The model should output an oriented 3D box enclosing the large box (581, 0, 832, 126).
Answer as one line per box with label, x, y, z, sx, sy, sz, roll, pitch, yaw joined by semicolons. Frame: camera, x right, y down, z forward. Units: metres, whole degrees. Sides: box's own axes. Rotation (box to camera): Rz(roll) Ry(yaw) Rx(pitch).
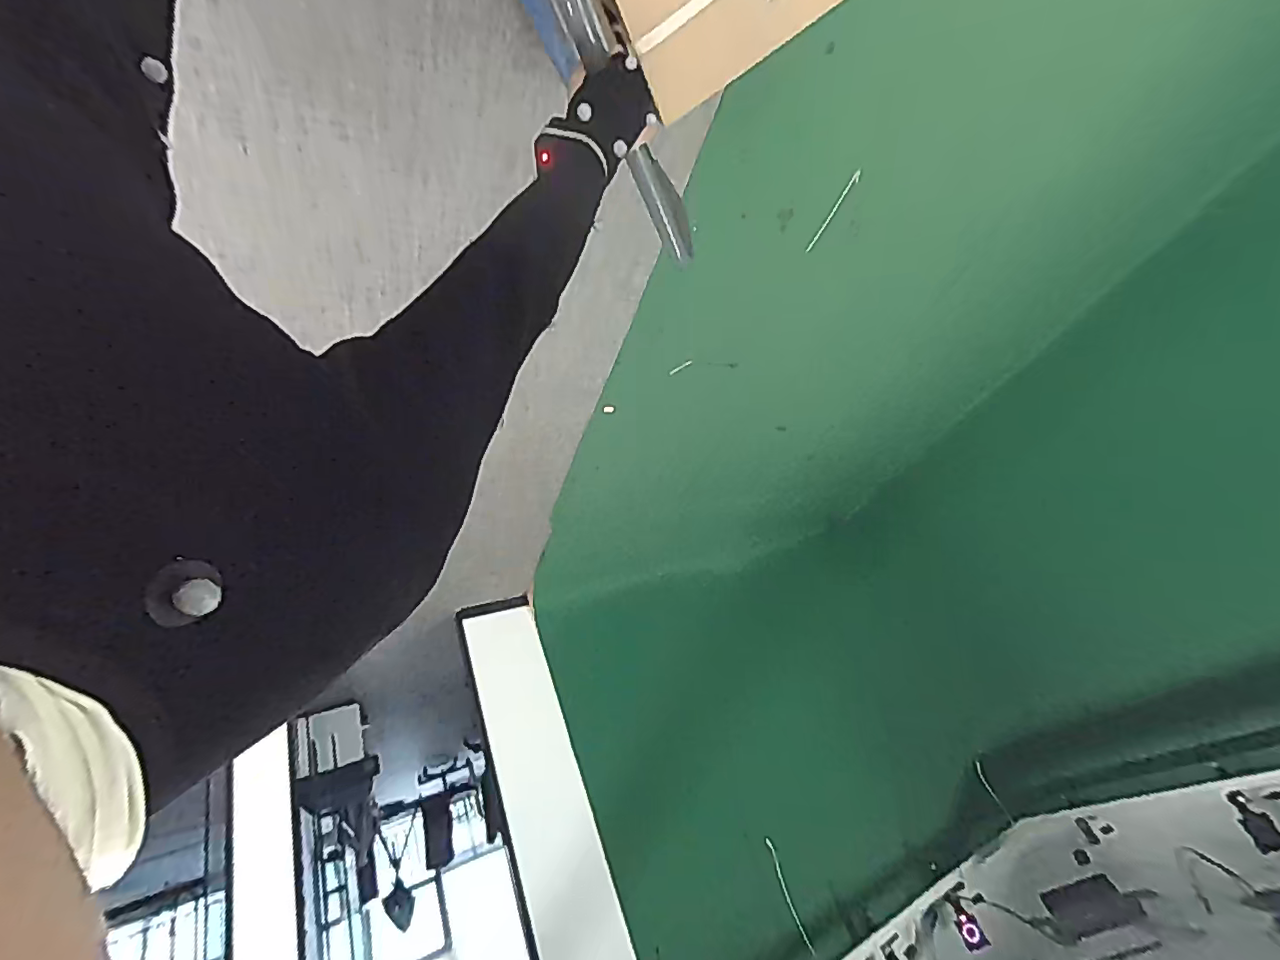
large box;0.092;-0.959;0.966;0.408;0.320;0.320;-32;151;9
